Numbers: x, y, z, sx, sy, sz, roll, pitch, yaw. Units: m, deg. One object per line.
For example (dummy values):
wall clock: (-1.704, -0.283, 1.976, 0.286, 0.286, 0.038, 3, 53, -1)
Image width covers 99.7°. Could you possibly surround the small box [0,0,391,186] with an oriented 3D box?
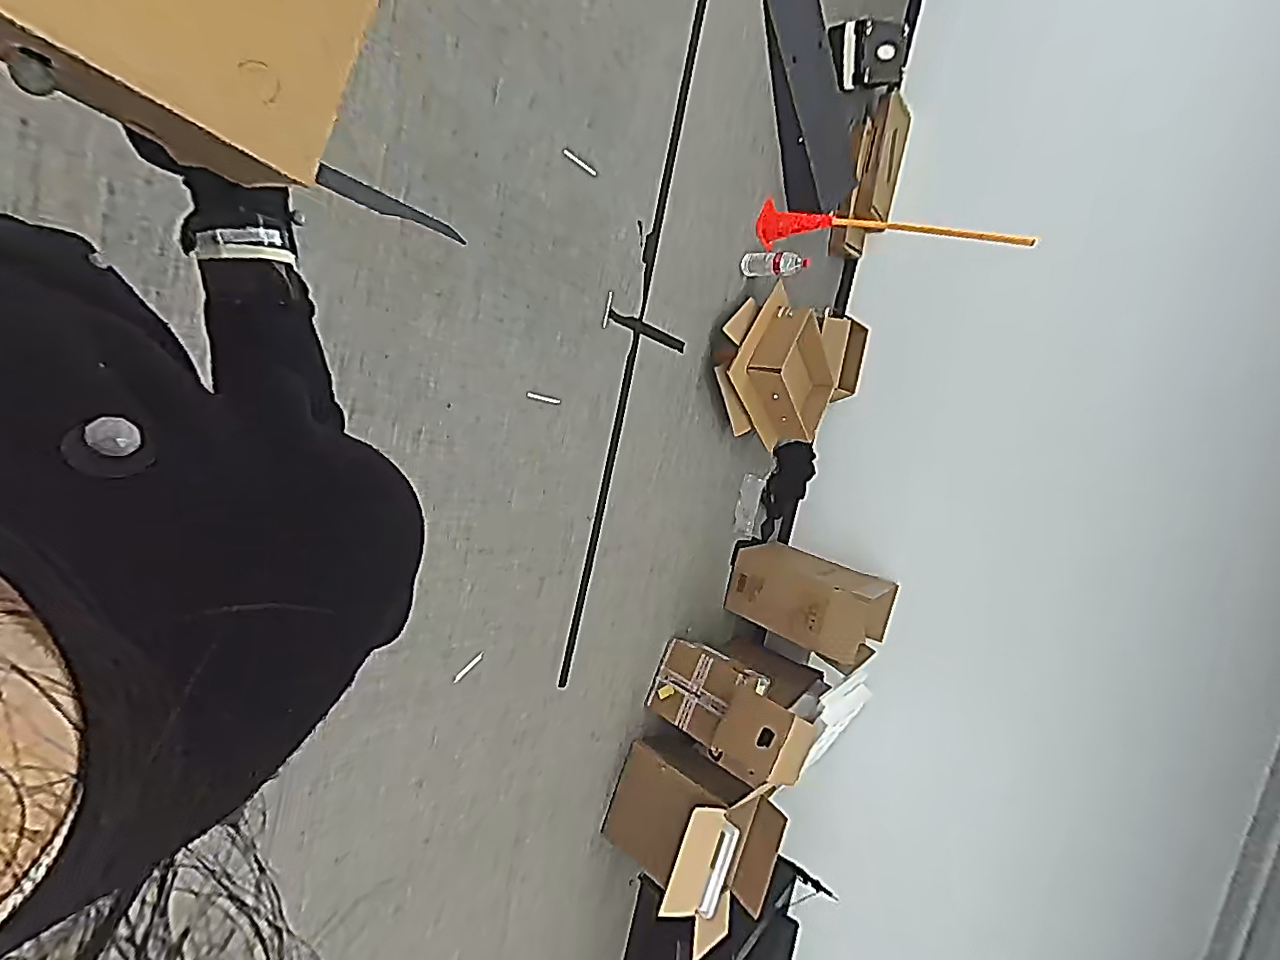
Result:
small box: (-0.249, -0.284, 0.288, 0.168, 0.176, 0.179, 17, 96, -49)
